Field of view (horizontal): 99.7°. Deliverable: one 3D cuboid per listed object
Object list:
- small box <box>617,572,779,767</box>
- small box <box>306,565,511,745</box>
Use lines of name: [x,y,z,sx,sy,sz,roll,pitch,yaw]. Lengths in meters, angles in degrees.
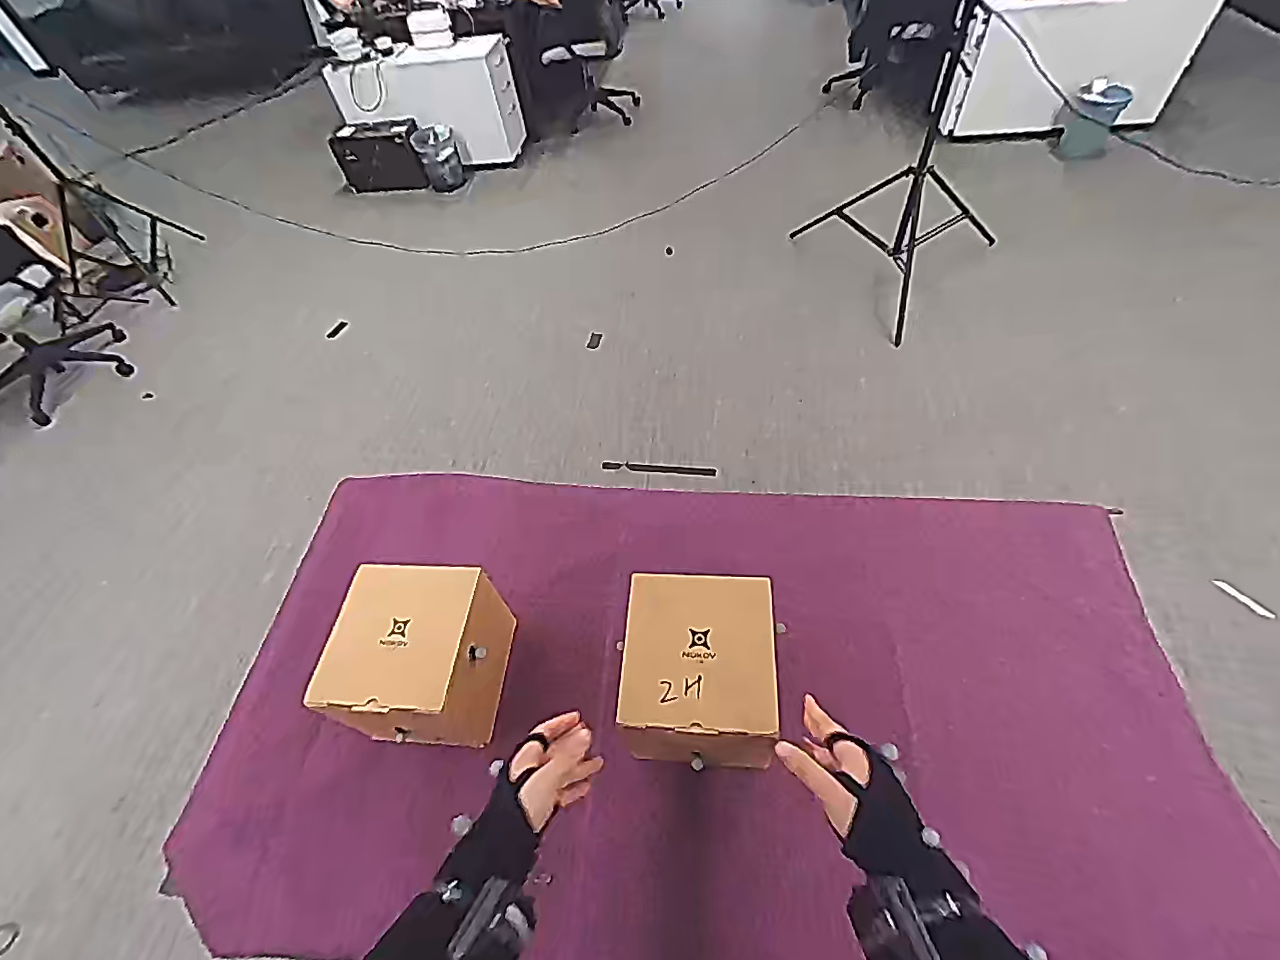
small box: [0.073,0.229,0.654,0.168,0.176,0.179,0,53,8]
small box: [-0.278,0.228,0.702,0.168,0.176,0.179,0,54,7]
